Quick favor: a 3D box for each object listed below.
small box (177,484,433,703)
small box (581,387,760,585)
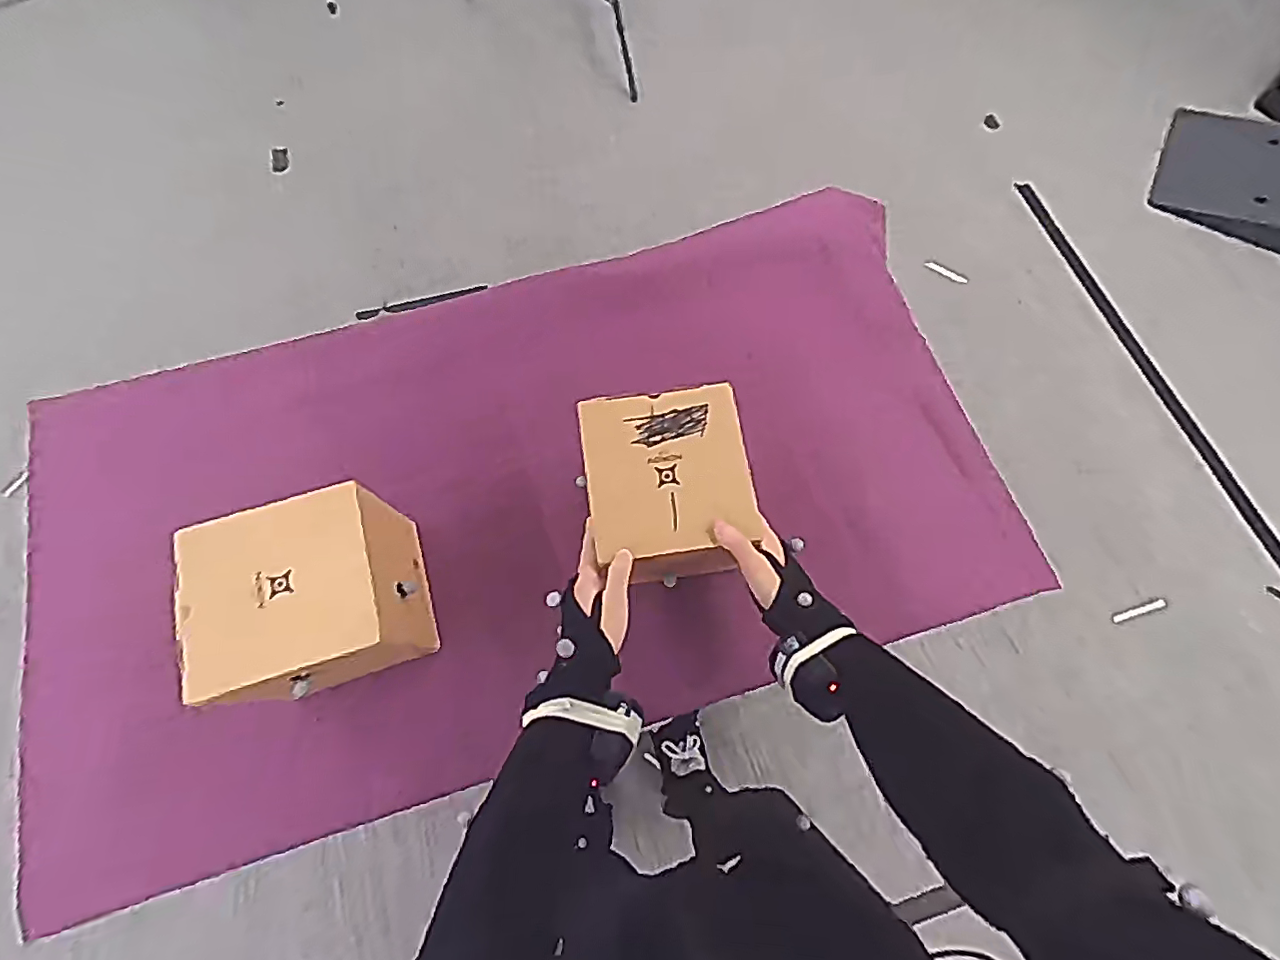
[{"bbox_3d":[-0.342,0.124,0.584,0.179,0.176,0.168,-17,72,-6],"label":"small box"},{"bbox_3d":[0.025,0.016,0.625,0.168,0.176,0.179,-7,73,-3],"label":"small box"}]
